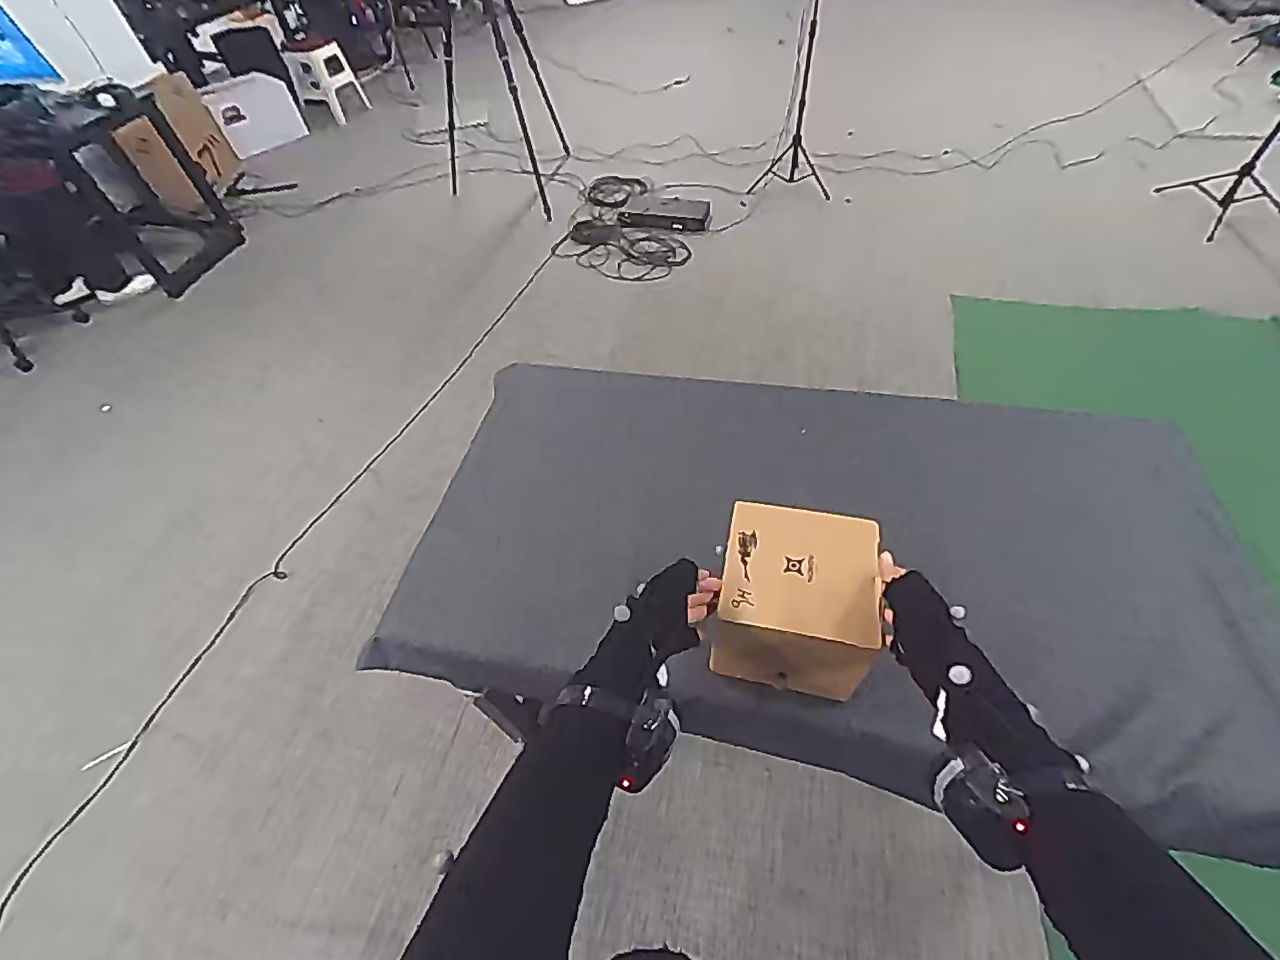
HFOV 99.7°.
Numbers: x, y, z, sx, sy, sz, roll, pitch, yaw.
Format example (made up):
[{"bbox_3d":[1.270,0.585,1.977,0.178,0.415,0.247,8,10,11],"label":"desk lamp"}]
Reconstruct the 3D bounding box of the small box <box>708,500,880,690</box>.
[{"bbox_3d":[0.189,0.152,0.690,0.179,0.176,0.168,9,53,11],"label":"small box"}]
